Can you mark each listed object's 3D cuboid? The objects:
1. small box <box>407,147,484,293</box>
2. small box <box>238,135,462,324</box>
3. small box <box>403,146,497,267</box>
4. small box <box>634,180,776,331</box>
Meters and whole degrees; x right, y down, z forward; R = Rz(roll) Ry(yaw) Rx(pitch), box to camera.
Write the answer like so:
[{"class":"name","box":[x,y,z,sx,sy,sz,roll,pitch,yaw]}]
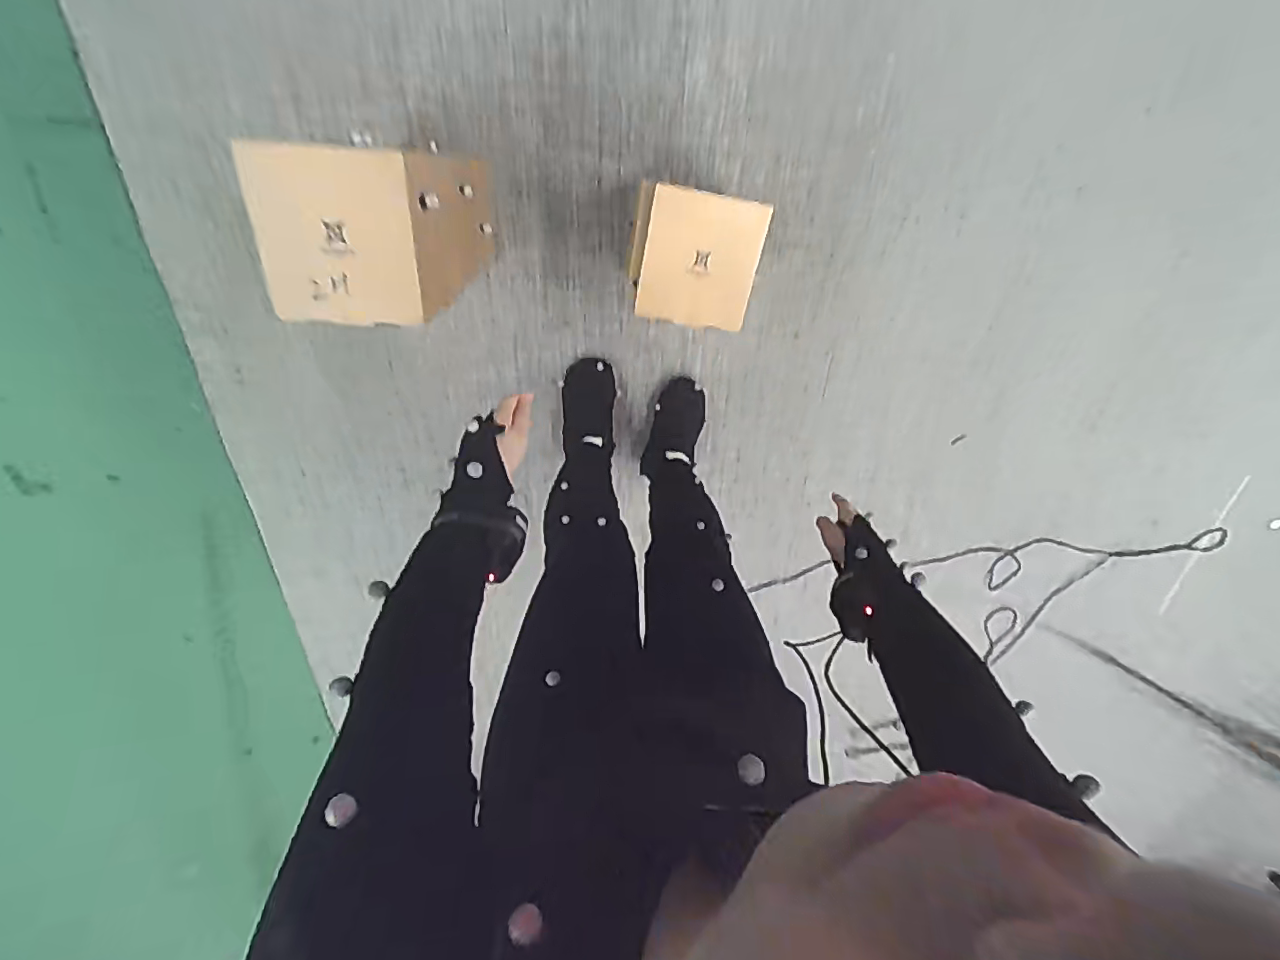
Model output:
[{"class":"small box","box":[-0.330,-0.378,0.783,0.168,0.176,0.179,2,120,-3]},{"class":"small box","box":[-0.320,-0.295,0.641,0.168,0.176,0.179,2,119,-3]},{"class":"small box","box":[-0.341,-0.459,0.923,0.168,0.176,0.179,4,120,-5]},{"class":"small box","box":[0.085,-0.346,0.825,0.168,0.176,0.179,7,119,-7]}]
